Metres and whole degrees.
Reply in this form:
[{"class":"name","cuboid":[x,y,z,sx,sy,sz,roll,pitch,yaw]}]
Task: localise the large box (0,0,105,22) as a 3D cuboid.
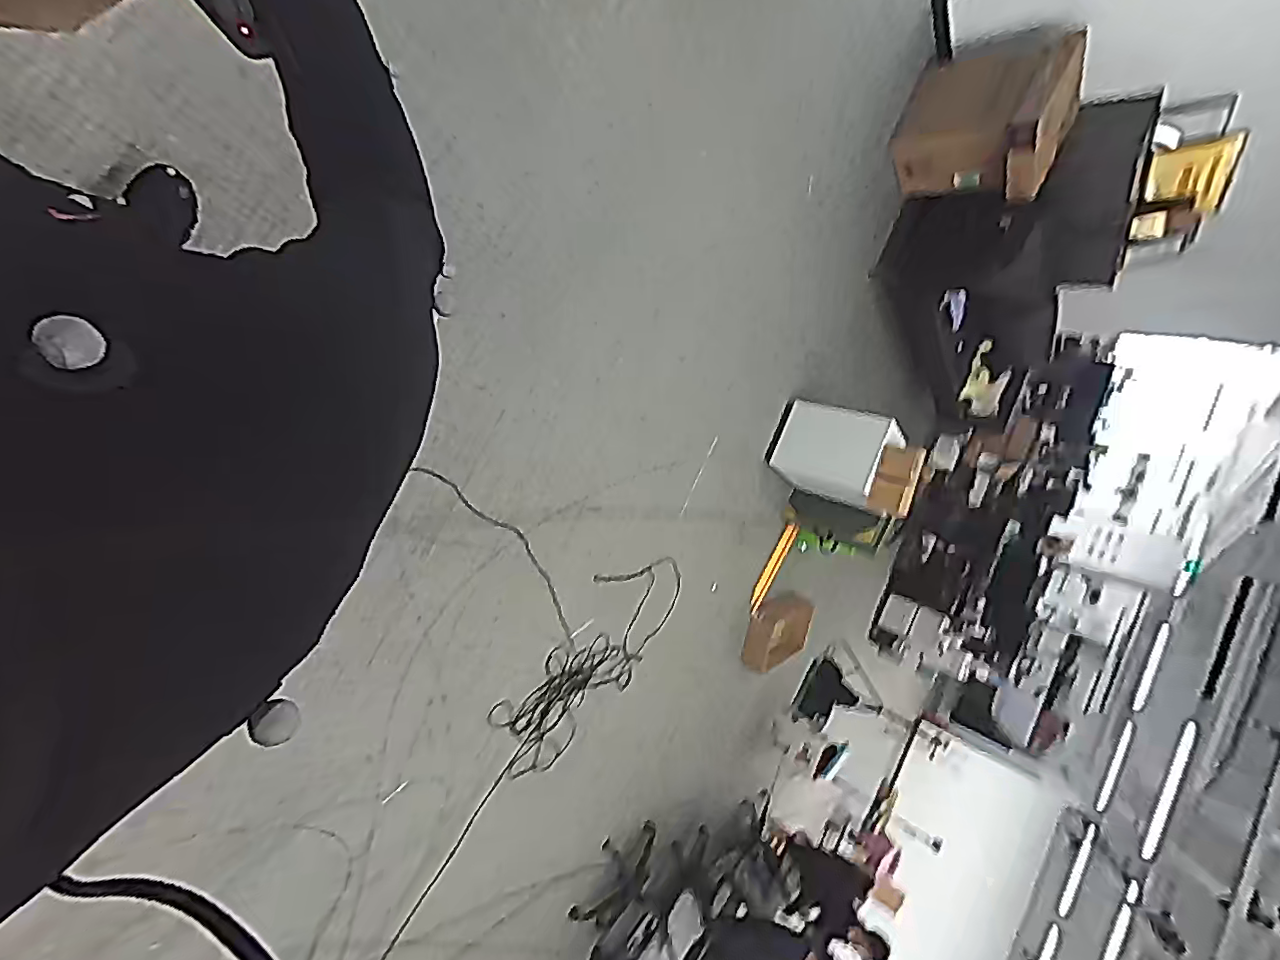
[{"class":"large box","cuboid":[-0.534,-0.424,0.213,0.408,0.320,0.320,-31,134,-42]}]
